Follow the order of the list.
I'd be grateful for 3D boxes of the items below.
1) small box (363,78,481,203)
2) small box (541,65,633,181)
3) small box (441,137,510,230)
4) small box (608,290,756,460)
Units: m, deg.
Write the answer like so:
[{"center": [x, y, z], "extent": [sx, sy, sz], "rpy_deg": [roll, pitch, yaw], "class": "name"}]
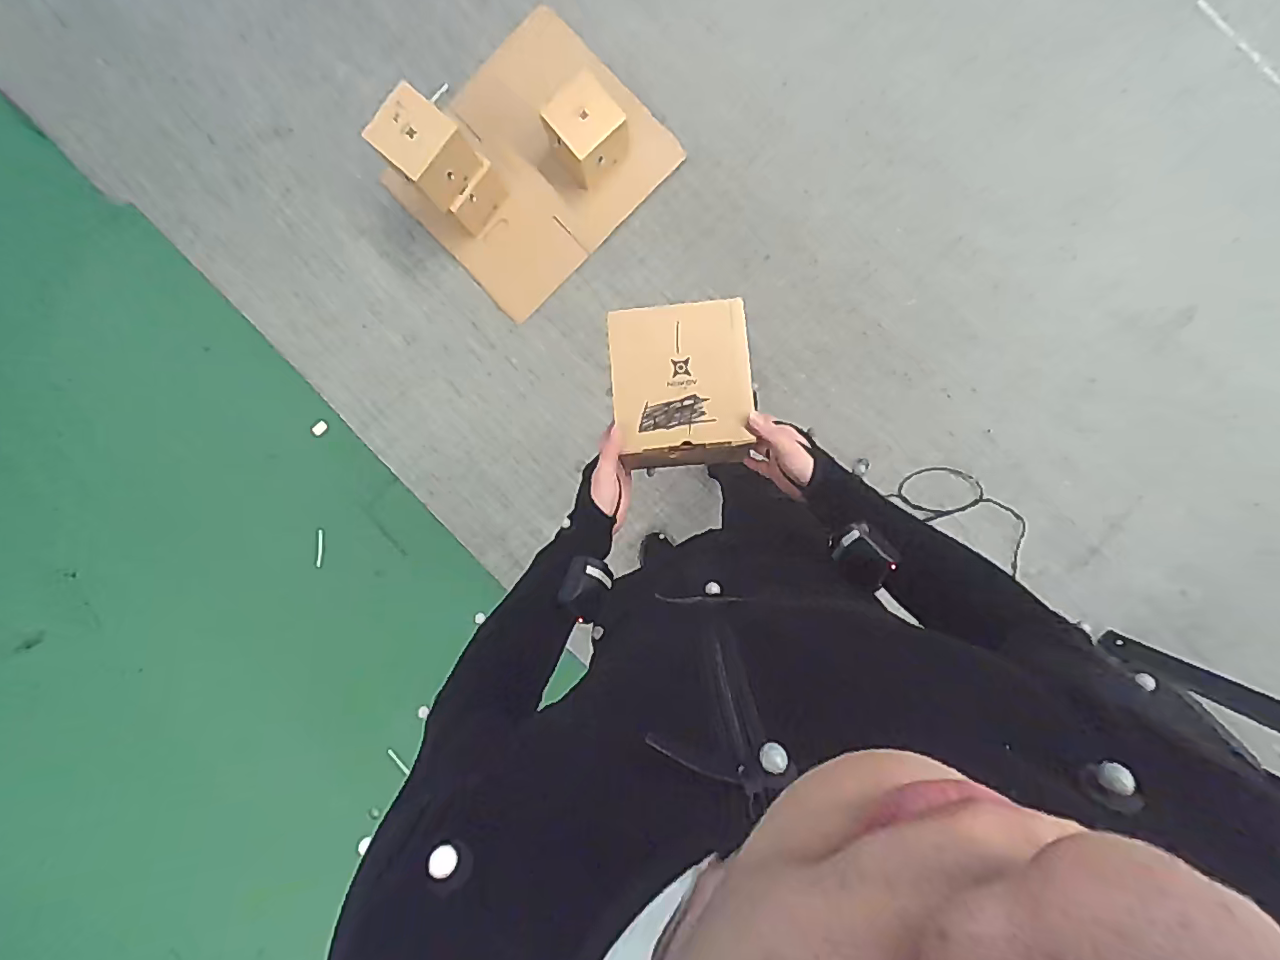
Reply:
[{"center": [-0.527, -0.820, 1.334], "extent": [0.179, 0.176, 0.168], "rpy_deg": [41, 94, 1], "class": "small box"}, {"center": [-0.135, -0.950, 1.466], "extent": [0.168, 0.176, 0.179], "rpy_deg": [-40, 89, 5], "class": "small box"}, {"center": [-0.492, -0.832, 1.497], "extent": [0.179, 0.176, 0.168], "rpy_deg": [40, 95, 1], "class": "small box"}, {"center": [0.054, -0.122, 0.707], "extent": [0.168, 0.176, 0.179], "rpy_deg": [-4, 83, 4], "class": "small box"}]
